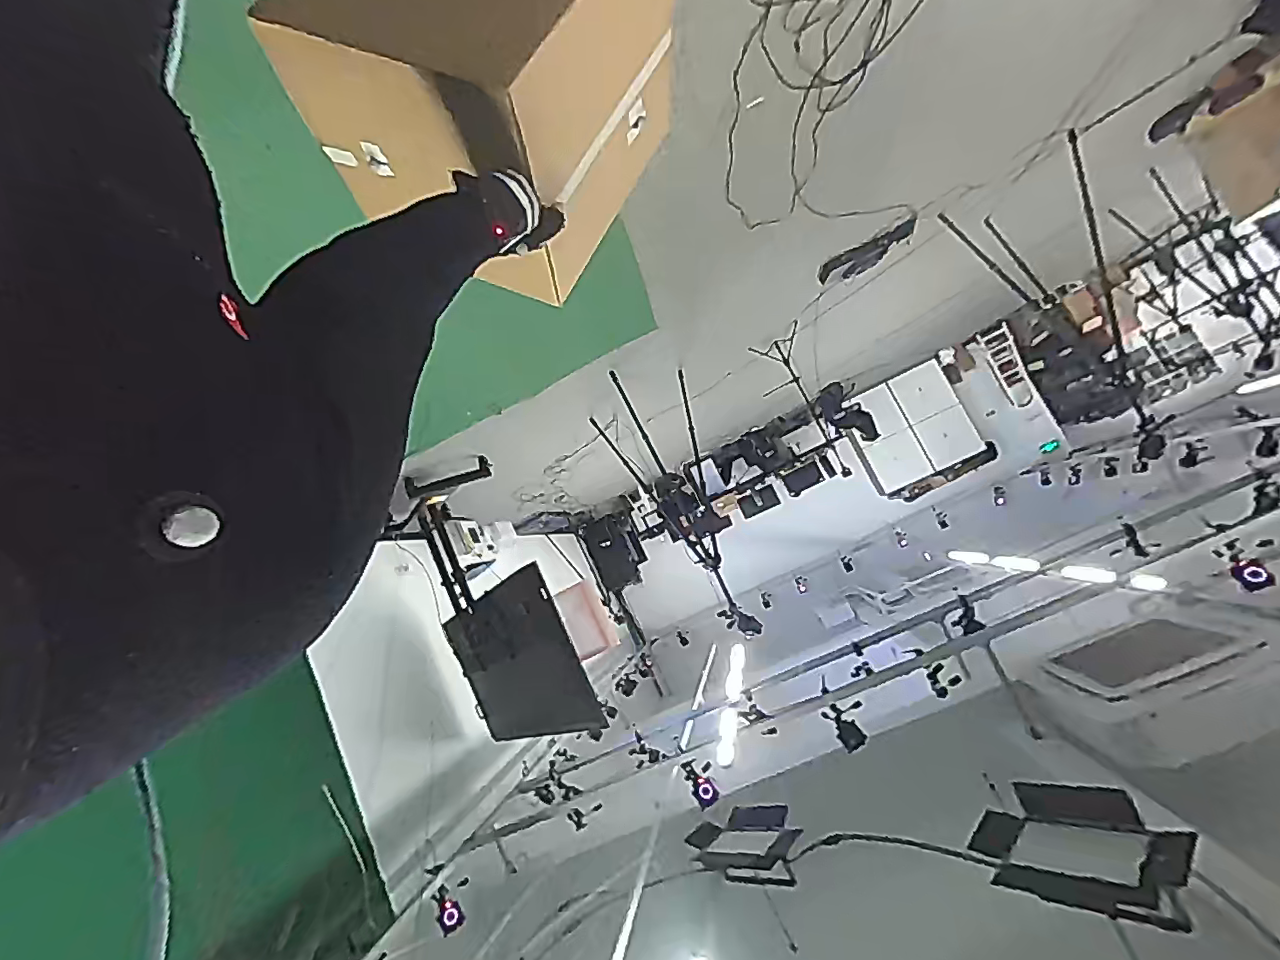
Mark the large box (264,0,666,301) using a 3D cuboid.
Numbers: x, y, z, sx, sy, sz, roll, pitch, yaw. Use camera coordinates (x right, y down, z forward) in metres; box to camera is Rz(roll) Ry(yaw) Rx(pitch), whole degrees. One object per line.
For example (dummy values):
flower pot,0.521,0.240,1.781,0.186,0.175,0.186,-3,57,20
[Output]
large box,-0.185,-0.536,0.741,0.320,0.320,0.408,87,26,-70
